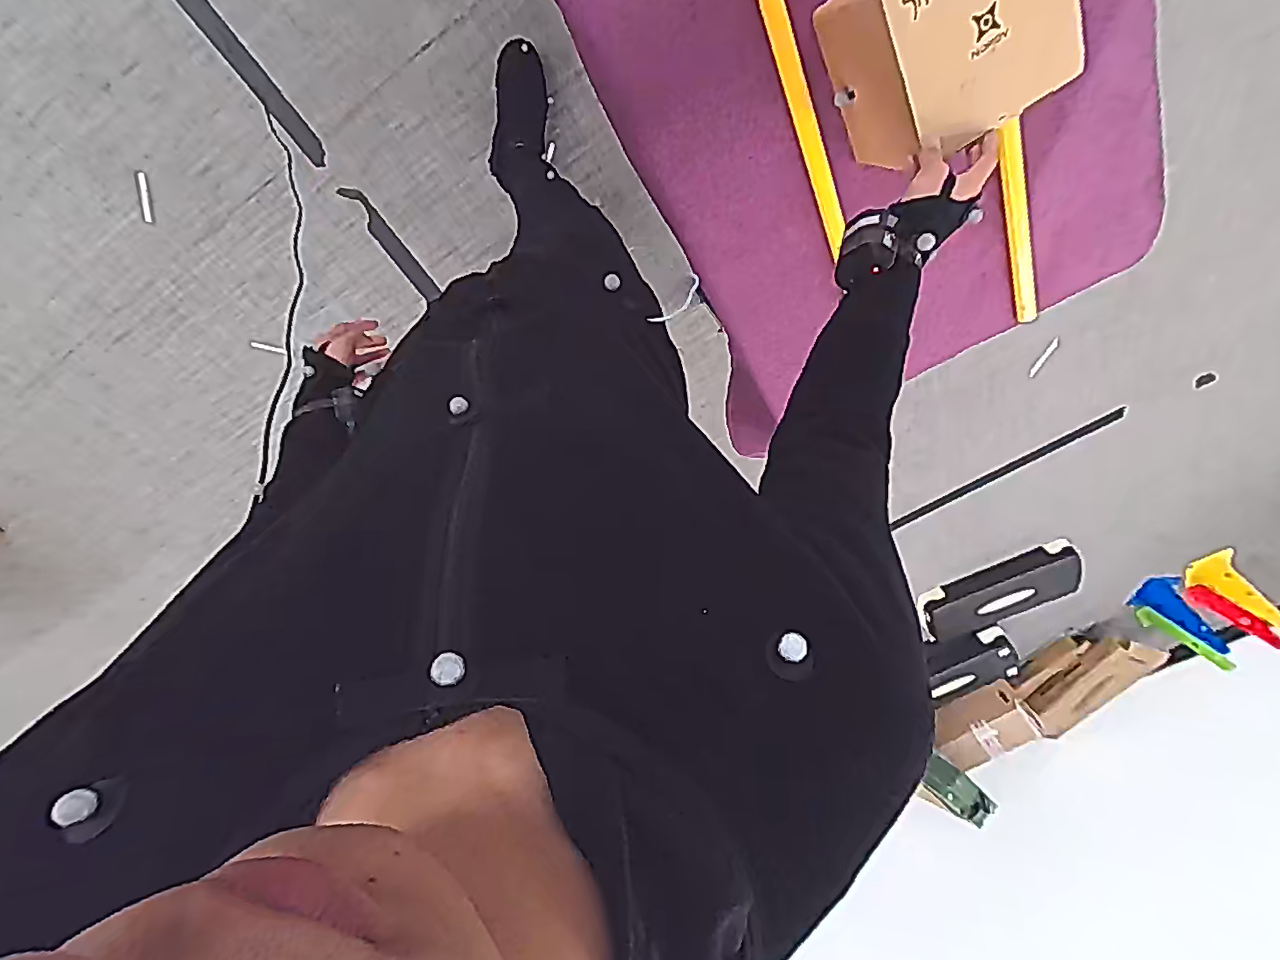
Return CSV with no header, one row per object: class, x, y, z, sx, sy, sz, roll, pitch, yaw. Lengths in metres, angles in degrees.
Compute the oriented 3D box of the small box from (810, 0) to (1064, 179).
small box,0.313,-0.469,0.589,0.168,0.176,0.179,-30,124,13
